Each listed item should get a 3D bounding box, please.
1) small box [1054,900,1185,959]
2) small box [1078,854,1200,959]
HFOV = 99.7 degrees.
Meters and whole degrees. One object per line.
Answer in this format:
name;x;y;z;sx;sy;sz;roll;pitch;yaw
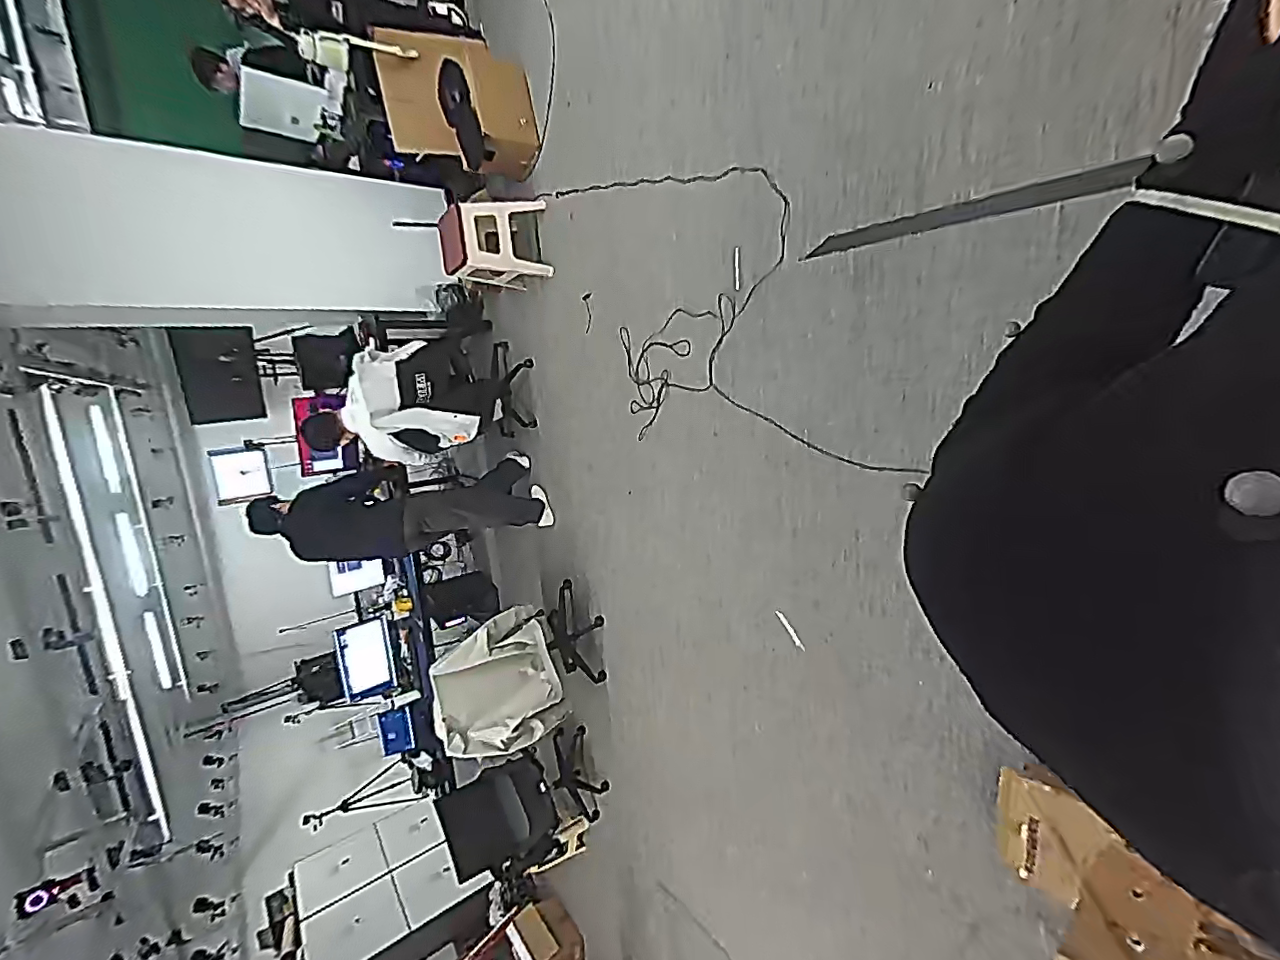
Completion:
small box;0.924;0.980;1.039;0.168;0.176;0.179;2;102;53
small box;1.048;0.949;1.140;0.168;0.176;0.179;7;106;53
